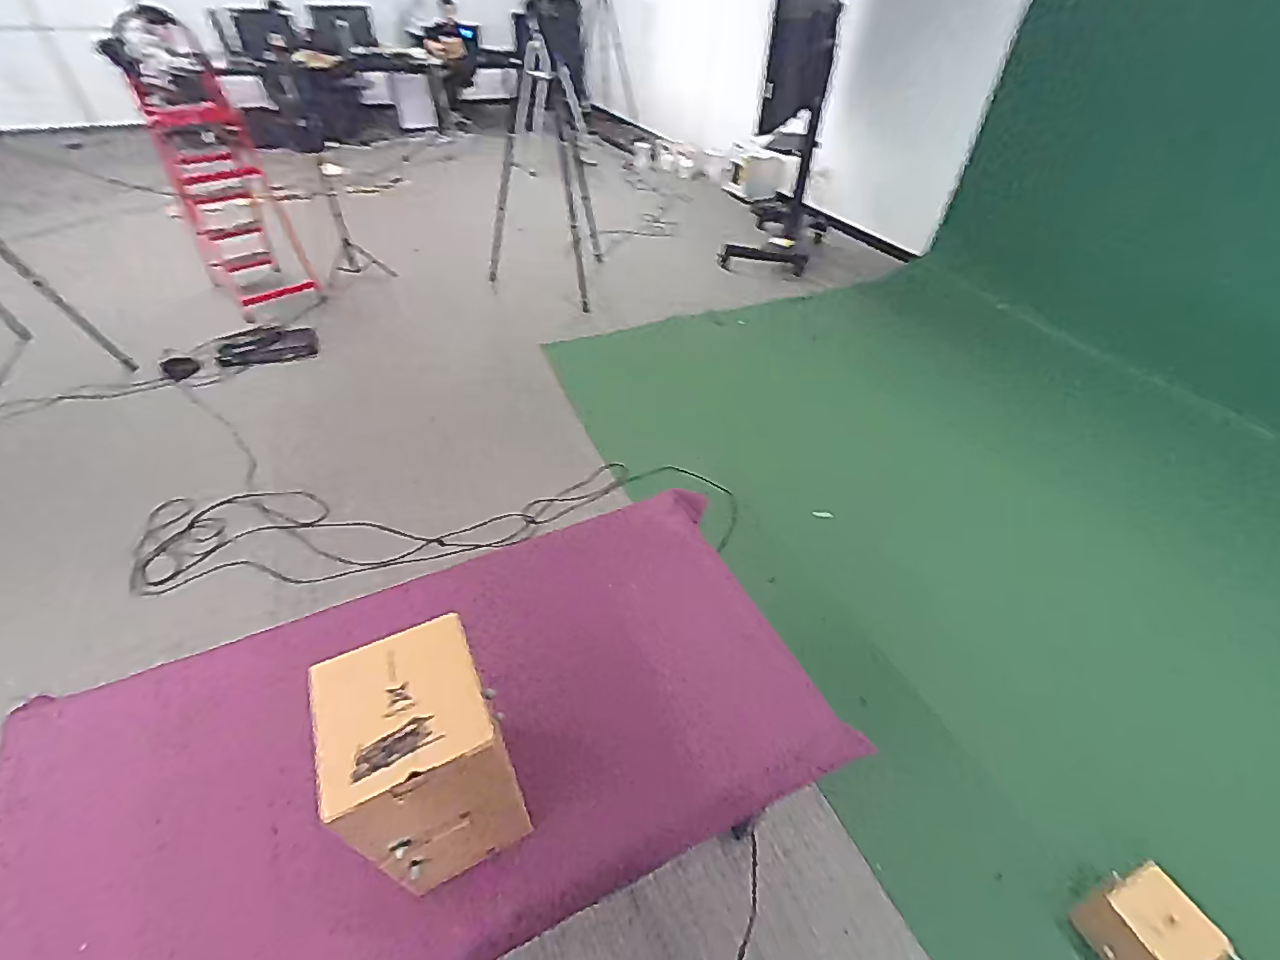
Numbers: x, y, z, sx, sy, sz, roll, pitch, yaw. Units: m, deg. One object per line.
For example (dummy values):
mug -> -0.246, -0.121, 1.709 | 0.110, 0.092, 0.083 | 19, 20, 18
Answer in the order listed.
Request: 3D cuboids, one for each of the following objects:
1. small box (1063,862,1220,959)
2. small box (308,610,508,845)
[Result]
small box -> 1.129, 1.017, 1.234 | 0.179, 0.176, 0.168 | -16, 46, -19
small box -> -0.265, 0.294, 0.636 | 0.168, 0.176, 0.179 | -18, 46, -20
